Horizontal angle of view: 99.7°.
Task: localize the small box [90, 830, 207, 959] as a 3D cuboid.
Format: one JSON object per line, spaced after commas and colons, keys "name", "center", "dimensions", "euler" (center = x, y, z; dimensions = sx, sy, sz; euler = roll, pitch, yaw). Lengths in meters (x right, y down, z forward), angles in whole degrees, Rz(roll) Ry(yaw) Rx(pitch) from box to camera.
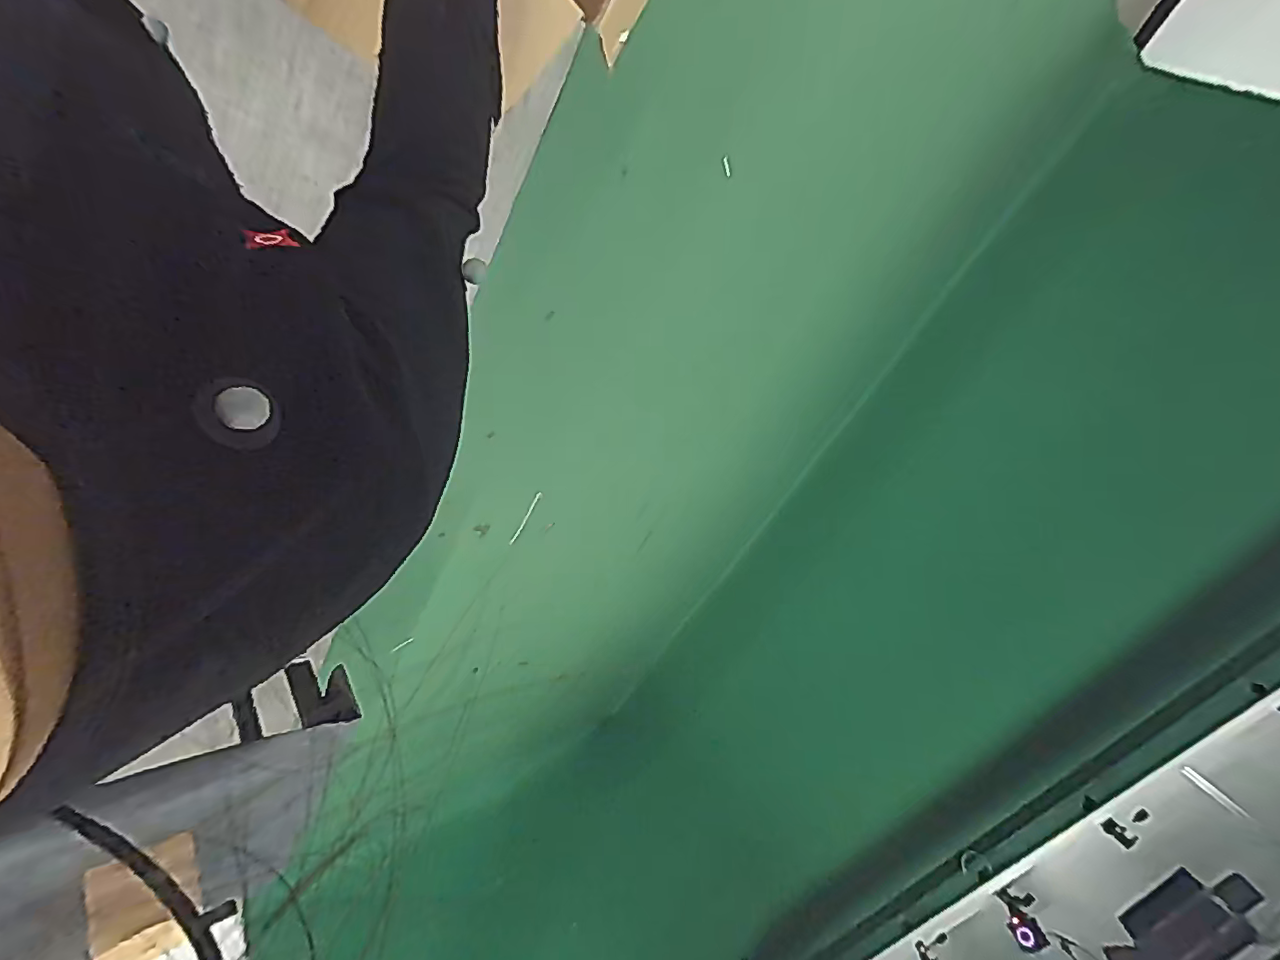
{"name": "small box", "center": [-1.047, 0.896, 1.151], "dimensions": [0.168, 0.176, 0.179], "euler": [-5, 132, -48]}
